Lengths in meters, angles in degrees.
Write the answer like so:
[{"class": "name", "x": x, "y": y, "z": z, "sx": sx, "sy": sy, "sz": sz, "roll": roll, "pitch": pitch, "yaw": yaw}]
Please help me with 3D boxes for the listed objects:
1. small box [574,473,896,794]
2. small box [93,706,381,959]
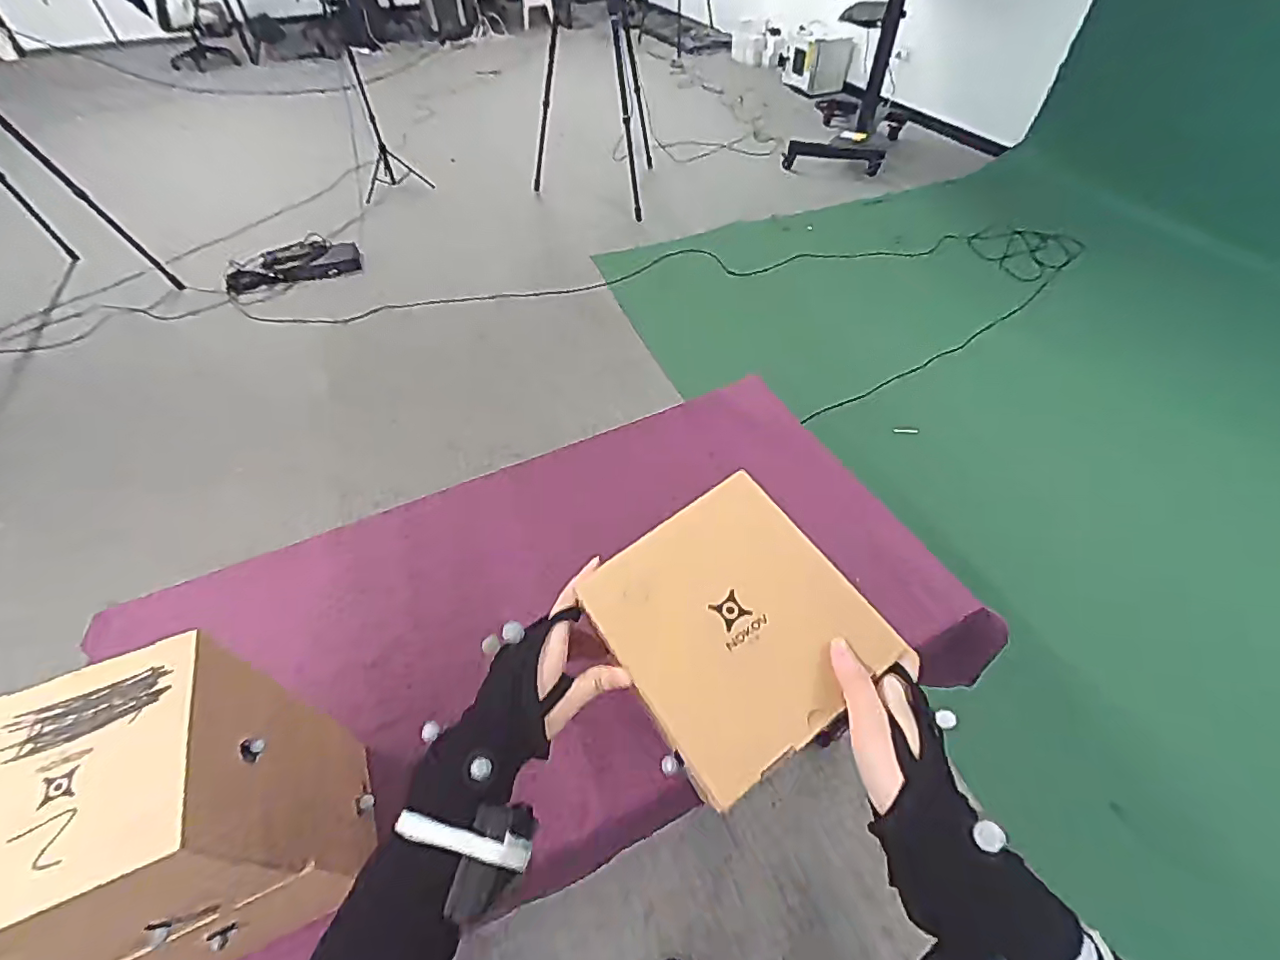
[{"class": "small box", "x": 0.065, "y": 0.133, "z": 0.457, "sx": 0.168, "sy": 0.176, "sz": 0.179, "roll": -33, "pitch": 66, "yaw": -14}, {"class": "small box", "x": -0.404, "y": 0.378, "z": 0.573, "sx": 0.179, "sy": 0.176, "sz": 0.168, "roll": -20, "pitch": 52, "yaw": -16}]
